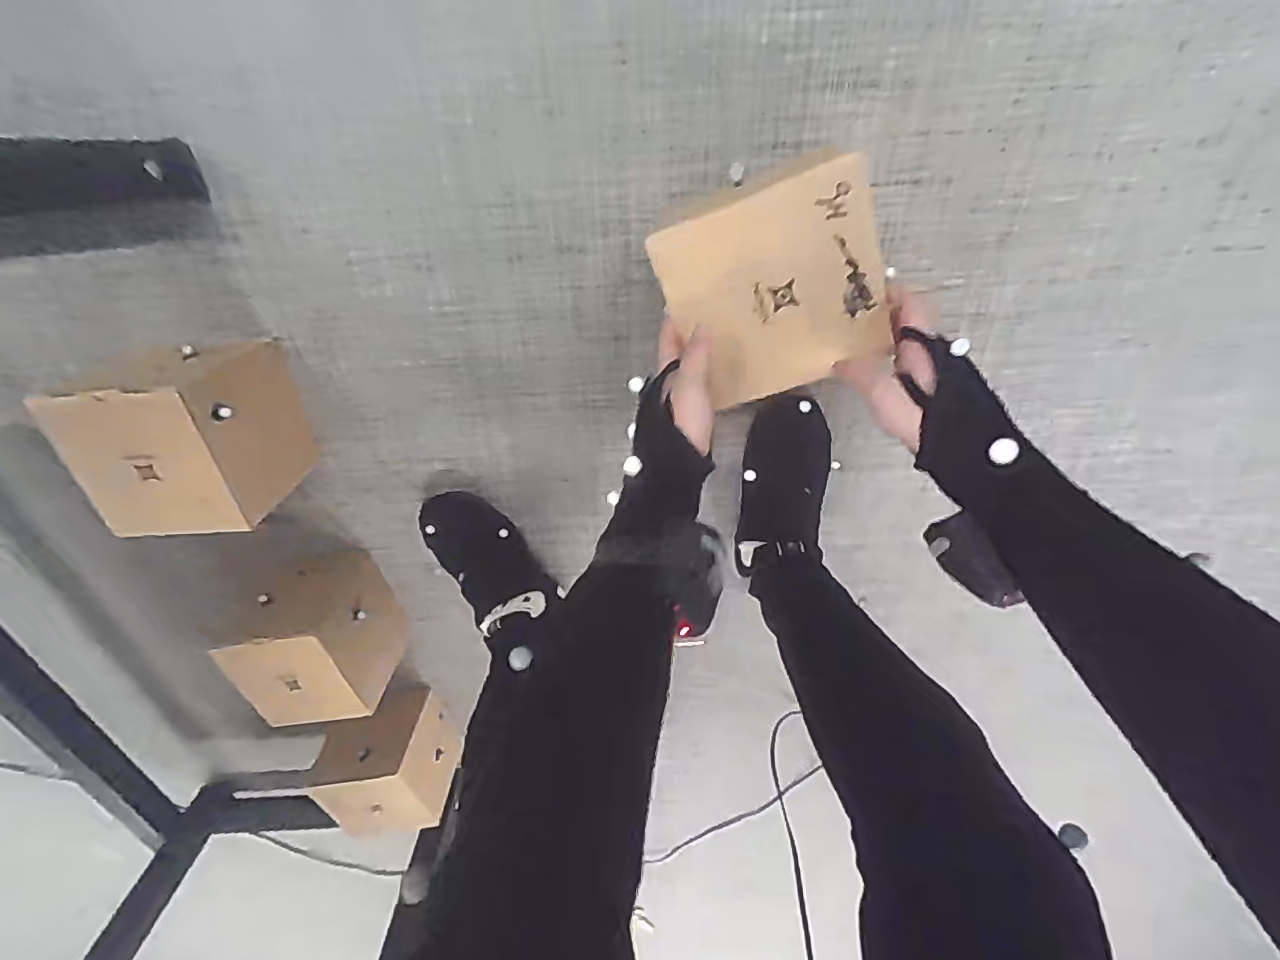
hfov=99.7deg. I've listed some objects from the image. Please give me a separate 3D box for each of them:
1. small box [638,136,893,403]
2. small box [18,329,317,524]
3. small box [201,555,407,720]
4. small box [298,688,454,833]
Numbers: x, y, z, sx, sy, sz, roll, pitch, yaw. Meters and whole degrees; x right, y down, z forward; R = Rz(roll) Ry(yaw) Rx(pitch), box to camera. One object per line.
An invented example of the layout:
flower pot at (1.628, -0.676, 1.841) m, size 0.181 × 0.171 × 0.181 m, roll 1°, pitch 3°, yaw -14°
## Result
small box at (0.116, -0.198, 0.510) m, size 0.179 × 0.176 × 0.168 m, roll -15°, pitch 118°, yaw 17°
small box at (-0.523, -0.067, 0.637) m, size 0.168 × 0.176 × 0.179 m, roll -2°, pitch 120°, yaw 2°
small box at (-0.484, 0.227, 0.813) m, size 0.168 × 0.176 × 0.179 m, roll -8°, pitch 121°, yaw 6°
small box at (-0.456, 0.499, 0.975) m, size 0.179 × 0.176 × 0.168 m, roll -10°, pitch 120°, yaw 6°
